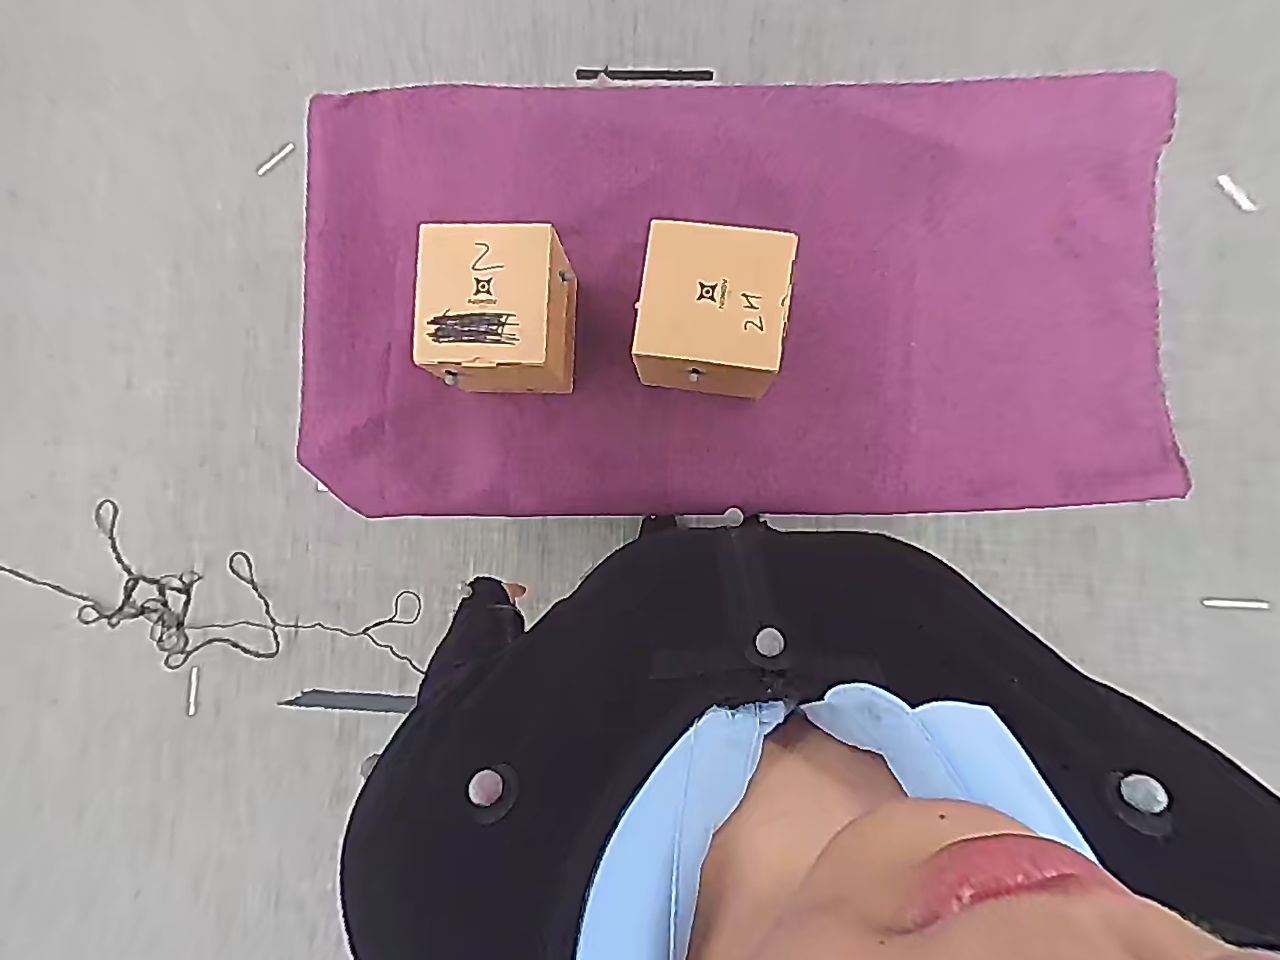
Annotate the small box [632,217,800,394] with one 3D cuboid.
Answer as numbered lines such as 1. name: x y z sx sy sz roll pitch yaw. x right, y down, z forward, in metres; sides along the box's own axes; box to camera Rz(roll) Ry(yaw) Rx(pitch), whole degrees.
1. small box: 0.094 -0.216 0.709 0.179 0.176 0.168 9 88 4
